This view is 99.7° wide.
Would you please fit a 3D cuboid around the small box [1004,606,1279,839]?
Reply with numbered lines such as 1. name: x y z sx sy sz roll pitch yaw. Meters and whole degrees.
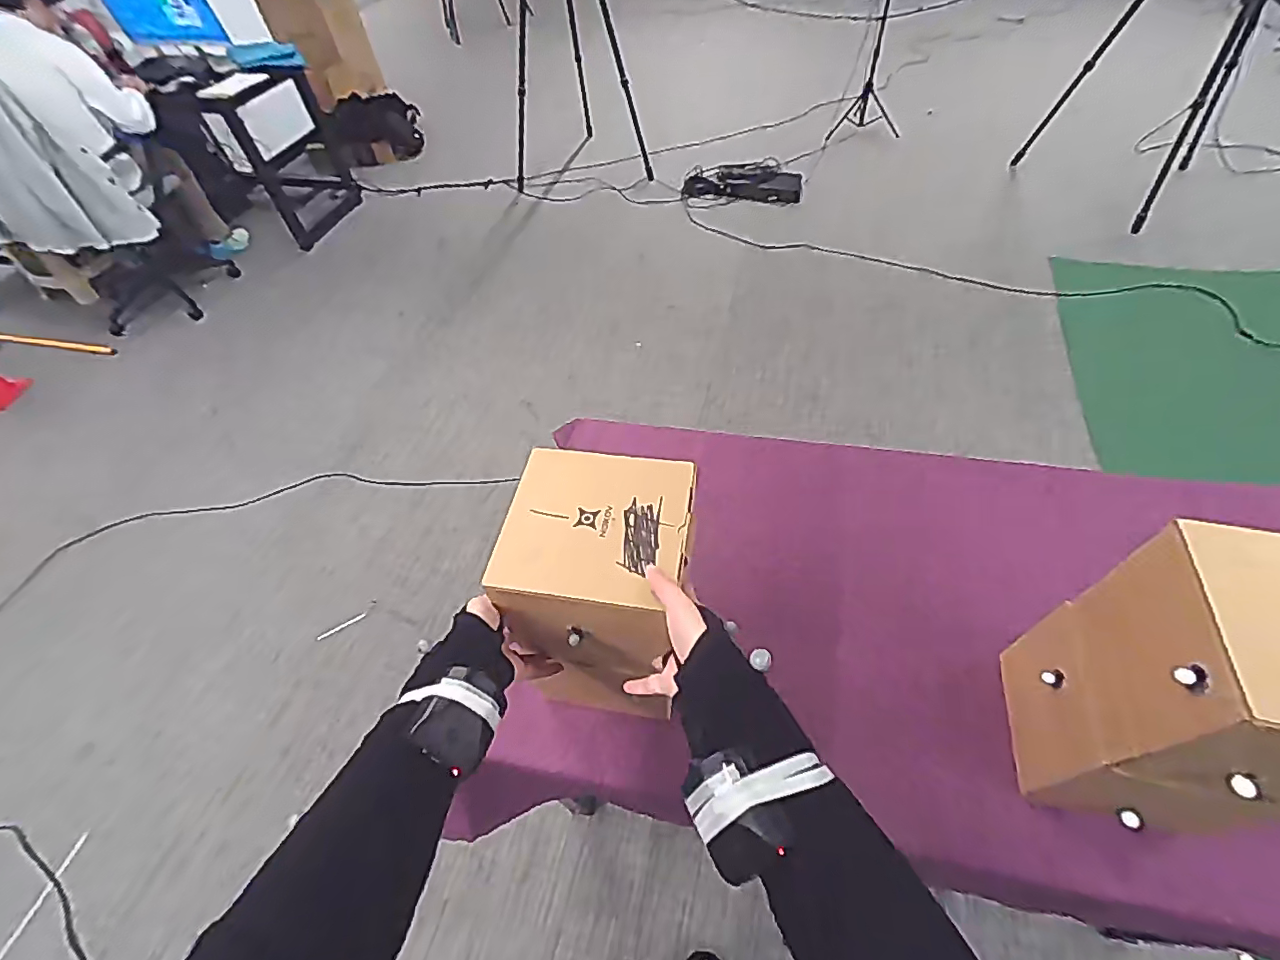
1. small box: 0.533 0.268 0.596 0.168 0.176 0.179 9 53 12

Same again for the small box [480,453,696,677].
1. small box: -0.038 0.094 0.571 0.179 0.176 0.168 6 53 9

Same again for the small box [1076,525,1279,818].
1. small box: 0.525 0.168 0.468 0.168 0.176 0.179 10 54 12
